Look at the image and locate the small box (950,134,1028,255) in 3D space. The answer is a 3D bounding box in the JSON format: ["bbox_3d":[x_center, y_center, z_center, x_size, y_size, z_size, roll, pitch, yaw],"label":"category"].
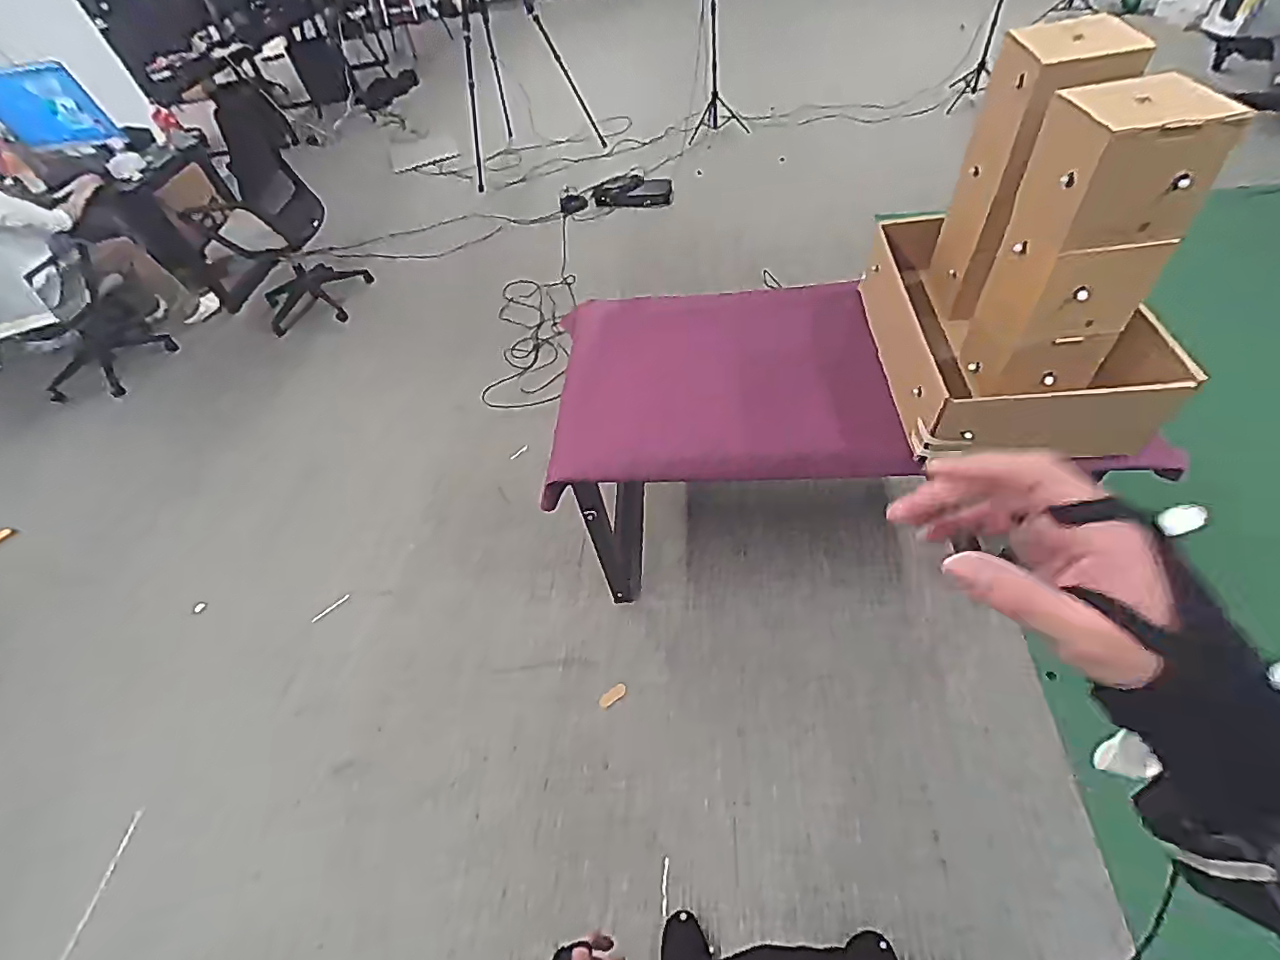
[{"bbox_3d":[0.758,-0.585,1.096,0.168,0.176,0.179,-4,53,8],"label":"small box"}]

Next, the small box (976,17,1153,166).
[{"bbox_3d":[0.735,-0.681,0.963,0.168,0.176,0.179,-3,53,8],"label":"small box"}]

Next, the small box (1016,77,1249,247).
[{"bbox_3d":[0.708,-0.464,0.806,0.168,0.176,0.179,-3,50,8],"label":"small box"}]

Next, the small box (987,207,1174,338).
[{"bbox_3d":[0.734,-0.358,0.928,0.168,0.176,0.179,-4,50,9],"label":"small box"}]
